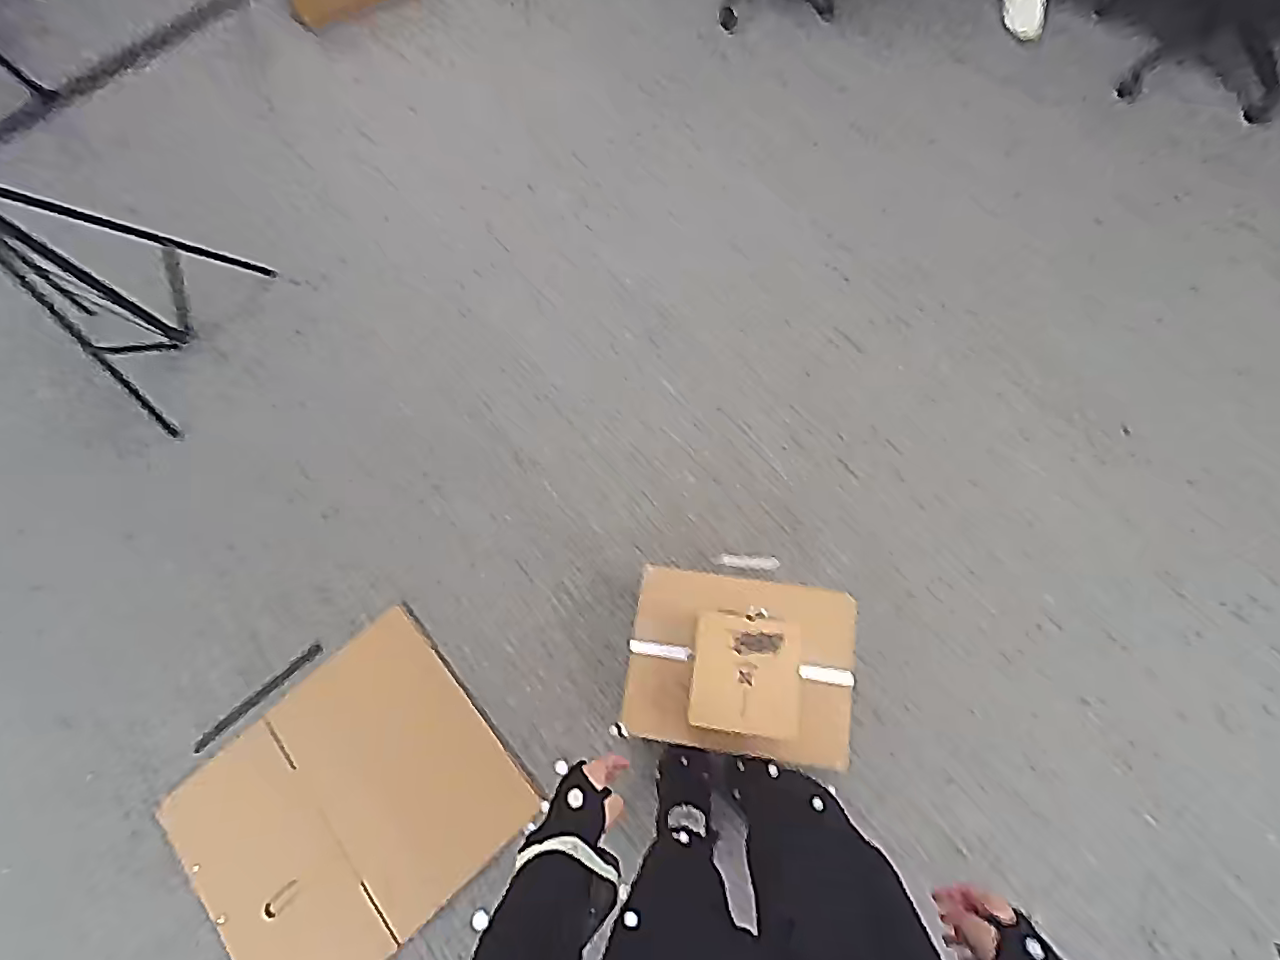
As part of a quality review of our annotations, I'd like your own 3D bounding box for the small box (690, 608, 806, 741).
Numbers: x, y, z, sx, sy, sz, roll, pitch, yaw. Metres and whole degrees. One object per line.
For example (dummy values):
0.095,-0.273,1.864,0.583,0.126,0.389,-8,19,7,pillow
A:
0.174,0.321,0.910,0.168,0.176,0.179,6,73,7,small box
